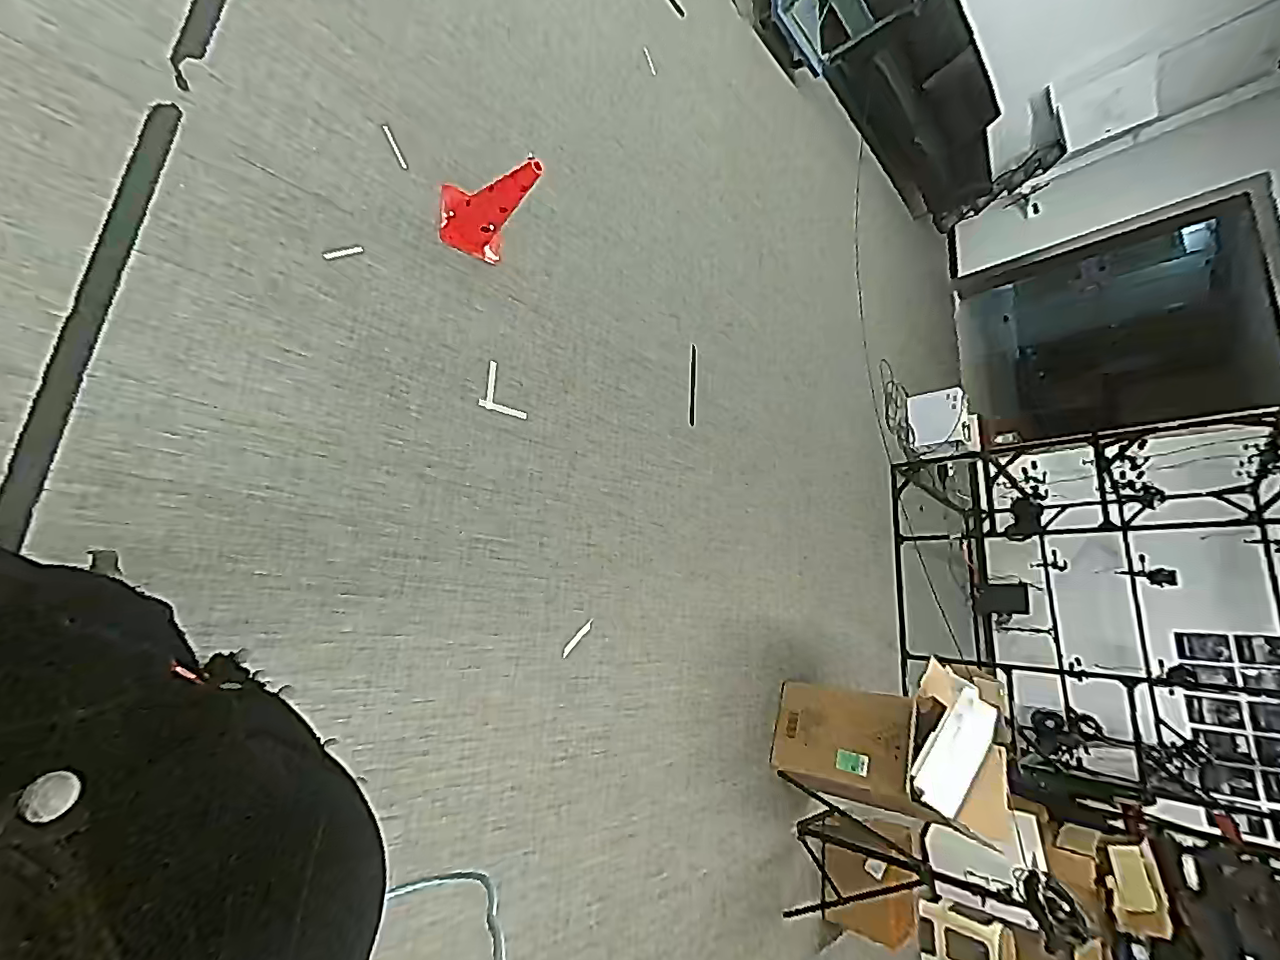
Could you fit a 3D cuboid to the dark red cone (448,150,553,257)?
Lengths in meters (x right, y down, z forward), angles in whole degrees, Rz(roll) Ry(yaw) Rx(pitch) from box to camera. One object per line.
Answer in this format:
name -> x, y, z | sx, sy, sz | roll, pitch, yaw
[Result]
dark red cone -> -0.378, -0.821, 1.544 | 0.201, 0.394, 0.202 | 8, 77, -45
